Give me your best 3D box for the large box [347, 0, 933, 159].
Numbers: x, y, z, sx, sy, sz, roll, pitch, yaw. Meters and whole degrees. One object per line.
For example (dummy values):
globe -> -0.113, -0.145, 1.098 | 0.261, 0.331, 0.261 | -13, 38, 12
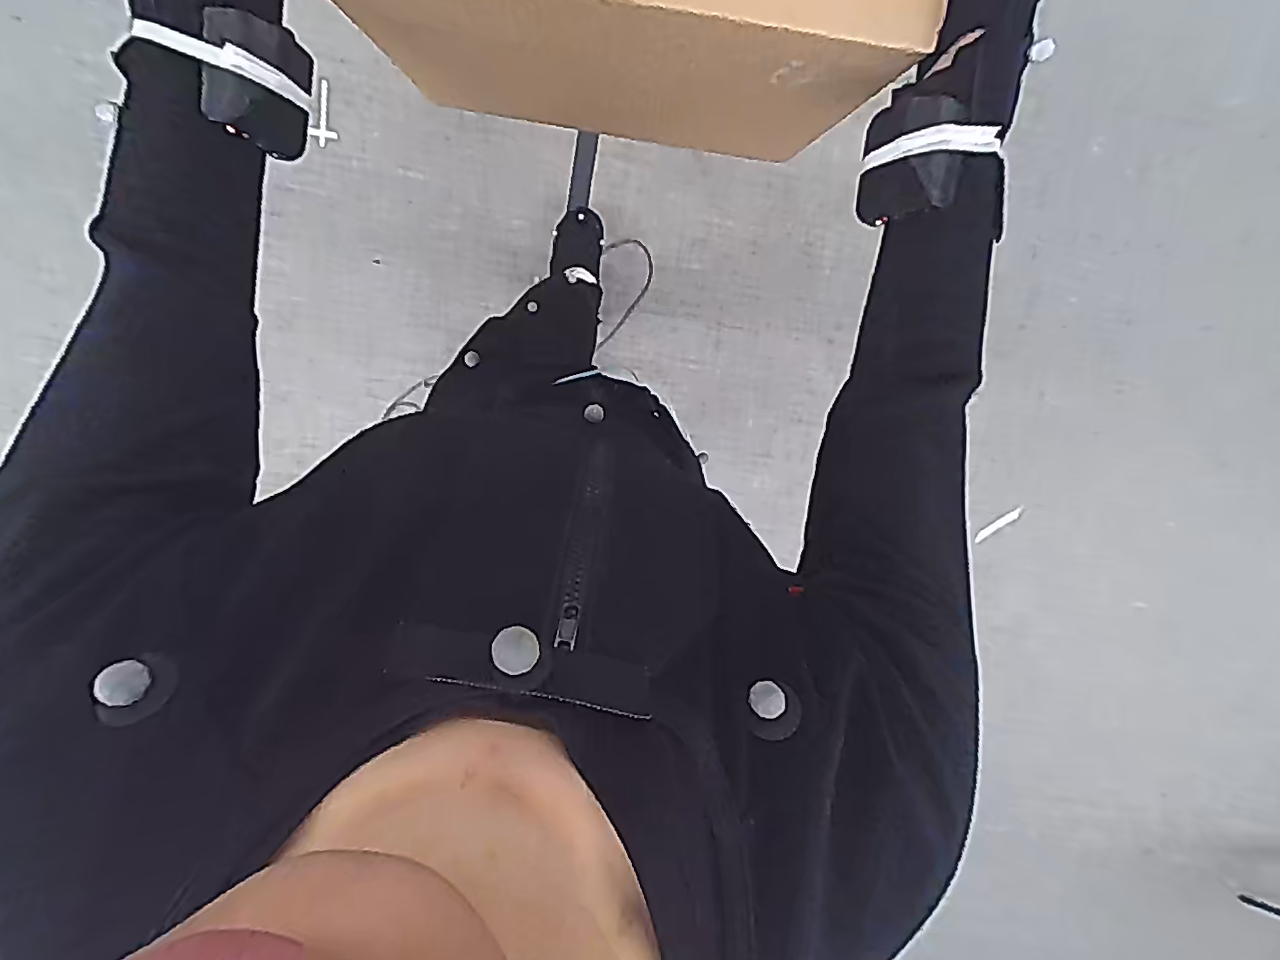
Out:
large box -> -0.004, -0.489, 0.431 | 0.408, 0.320, 0.320 | 6, 109, -5
